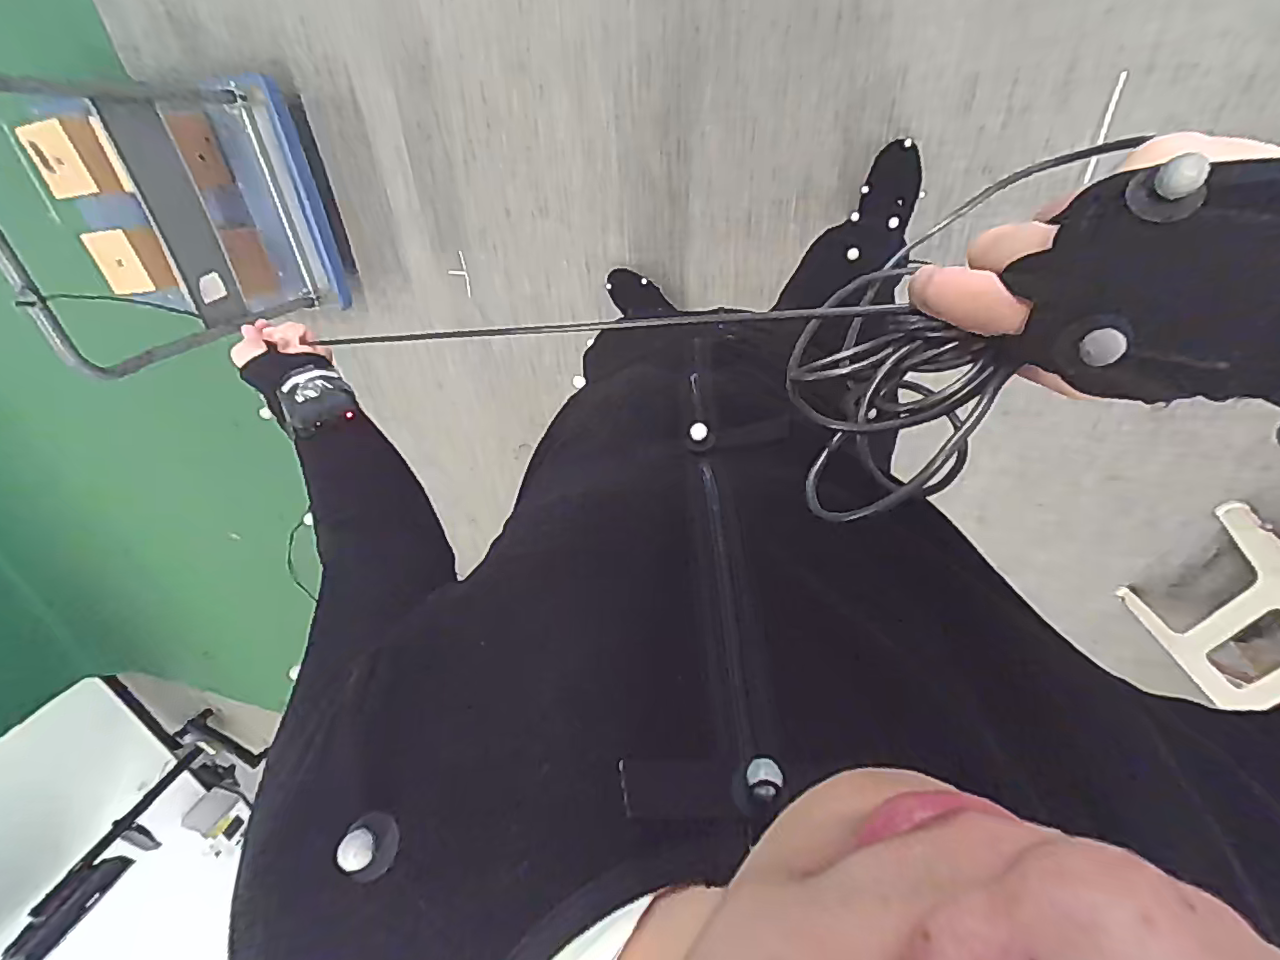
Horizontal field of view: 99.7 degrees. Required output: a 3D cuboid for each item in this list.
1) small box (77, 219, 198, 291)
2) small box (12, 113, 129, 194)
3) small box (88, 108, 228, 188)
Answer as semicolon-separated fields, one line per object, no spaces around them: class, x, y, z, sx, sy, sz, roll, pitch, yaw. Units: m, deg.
small box;-1.449;-0.659;1.579;0.179;0.176;0.168;3;122;17
small box;-1.480;-0.873;1.449;0.179;0.176;0.168;2;123;16
small box;-1.220;-0.846;1.381;0.179;0.176;0.168;6;124;13
